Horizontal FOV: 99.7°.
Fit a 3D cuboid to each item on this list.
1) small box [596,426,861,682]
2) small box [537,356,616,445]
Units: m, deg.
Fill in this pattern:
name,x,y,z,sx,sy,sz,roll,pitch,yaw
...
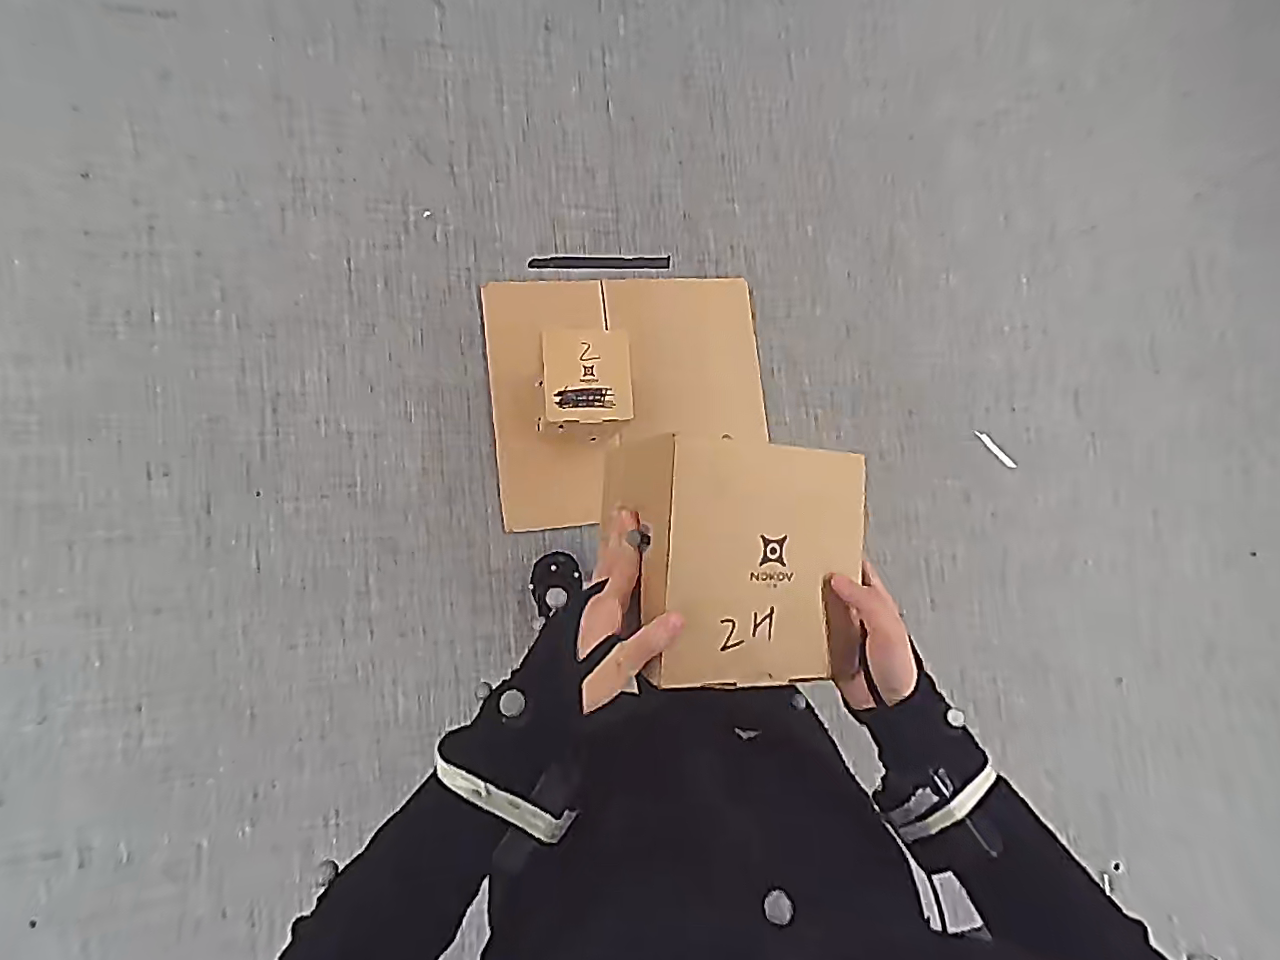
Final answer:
name,x,y,z,sx,sy,sz,roll,pitch,yaw
small box,0.065,0.060,0.467,0.168,0.176,0.179,5,85,-19
small box,-0.150,-0.176,1.247,0.168,0.176,0.179,-1,85,-14
